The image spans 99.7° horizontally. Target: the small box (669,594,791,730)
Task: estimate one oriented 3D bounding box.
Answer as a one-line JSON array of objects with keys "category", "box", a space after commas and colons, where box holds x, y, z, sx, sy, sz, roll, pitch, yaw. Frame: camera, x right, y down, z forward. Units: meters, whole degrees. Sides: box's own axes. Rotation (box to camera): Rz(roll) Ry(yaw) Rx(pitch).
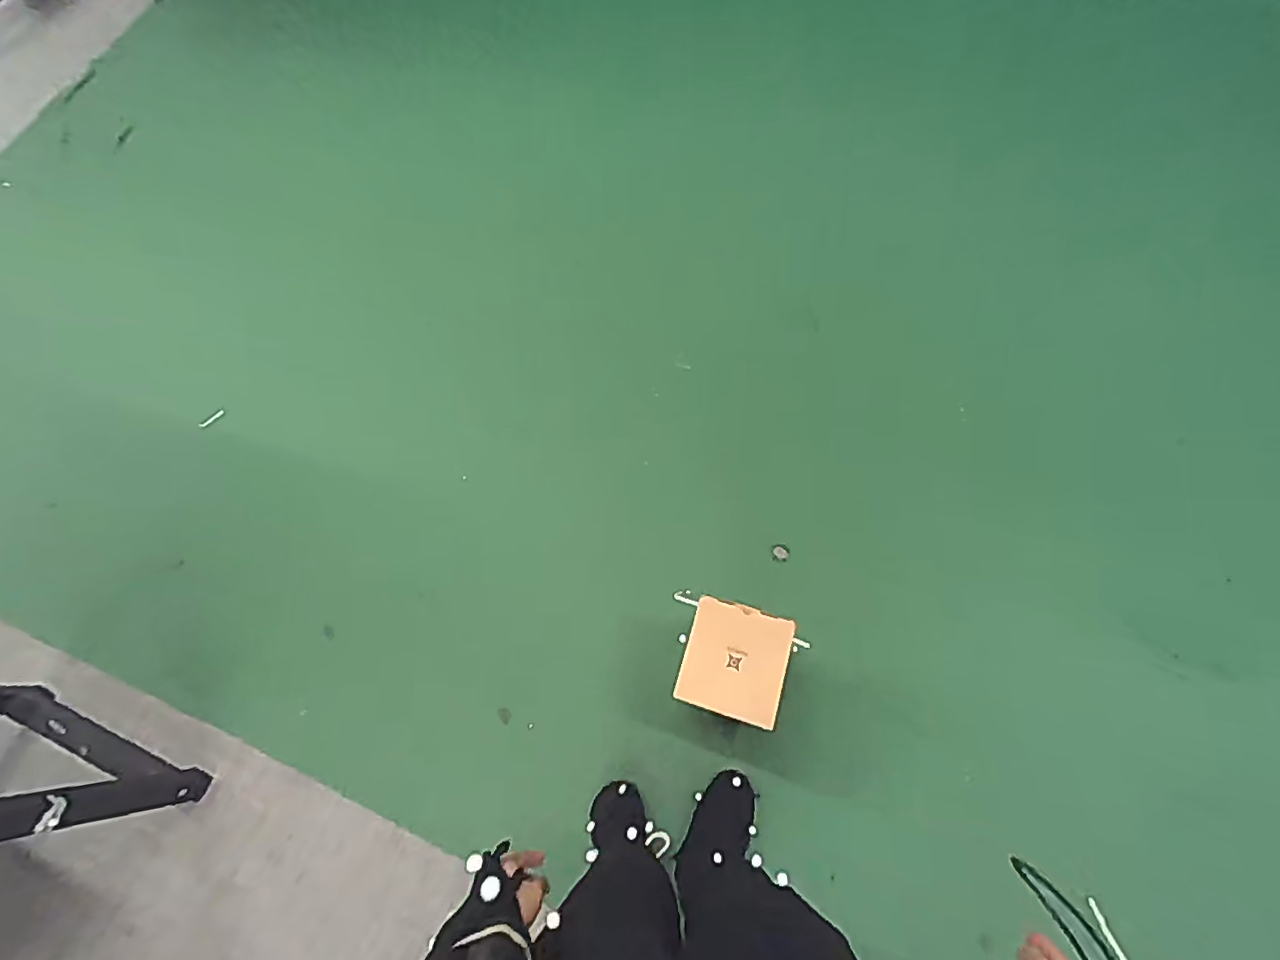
[{"category": "small box", "box": [0.159, 0.323, 0.959, 0.168, 0.176, 0.179, 15, 71, 12]}]
